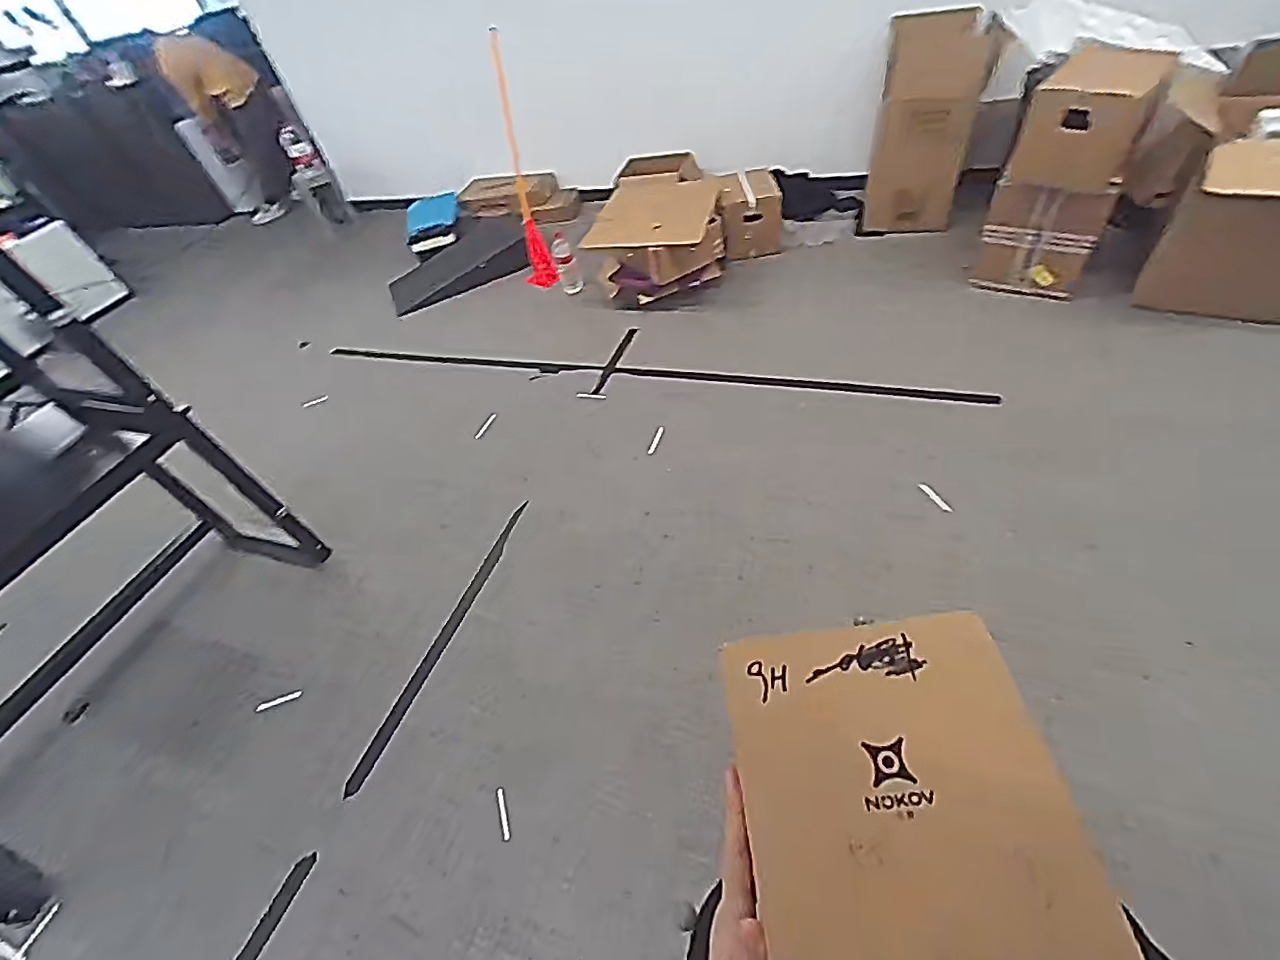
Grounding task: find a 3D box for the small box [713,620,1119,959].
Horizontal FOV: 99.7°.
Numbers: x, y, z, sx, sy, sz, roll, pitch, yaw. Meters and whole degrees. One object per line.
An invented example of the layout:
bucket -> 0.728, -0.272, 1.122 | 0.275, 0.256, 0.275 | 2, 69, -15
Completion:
small box -> 0.148, 0.216, 0.364 | 0.168, 0.176, 0.179 | -9, 53, 4
